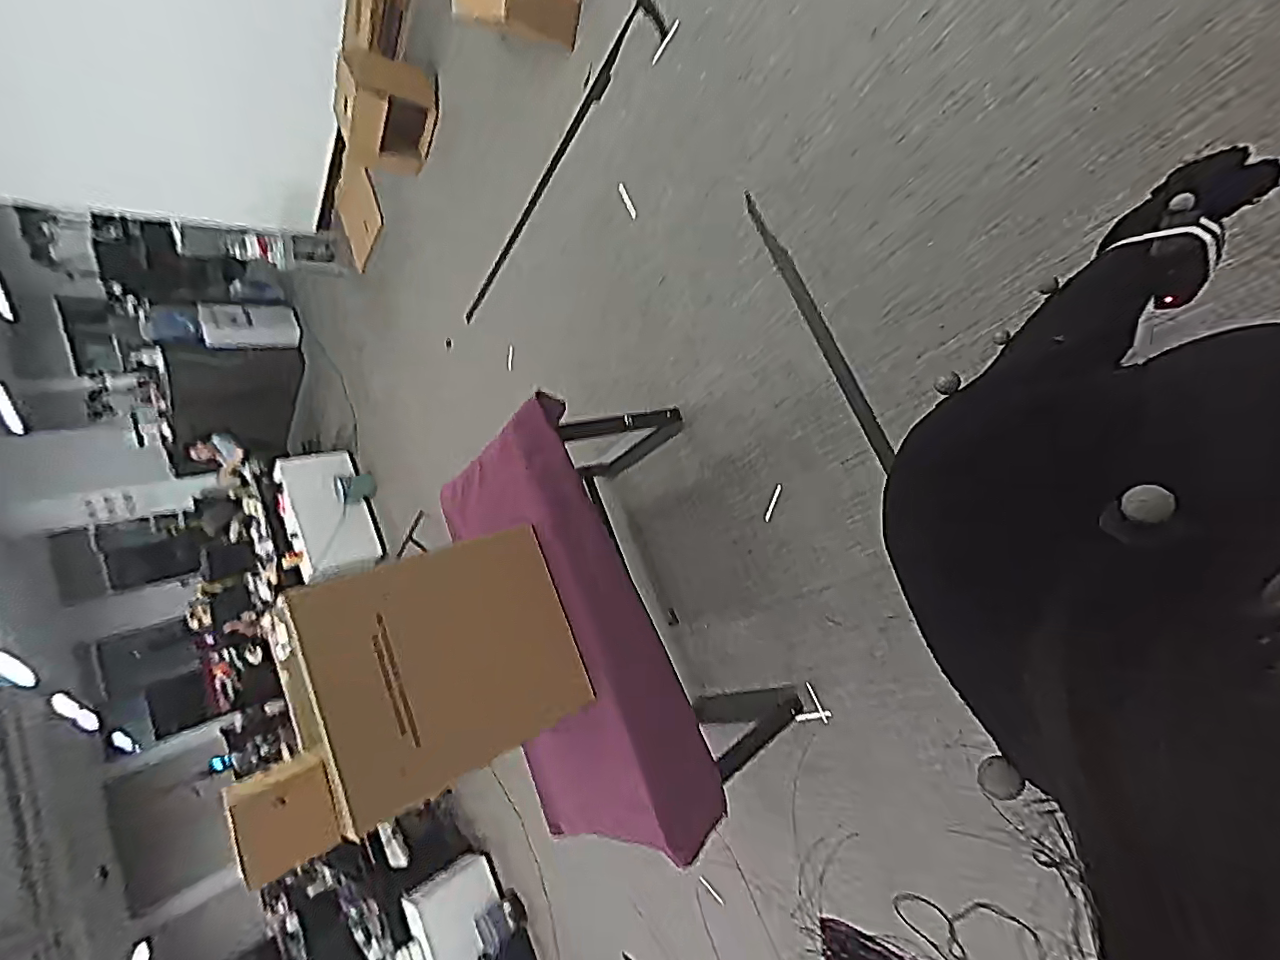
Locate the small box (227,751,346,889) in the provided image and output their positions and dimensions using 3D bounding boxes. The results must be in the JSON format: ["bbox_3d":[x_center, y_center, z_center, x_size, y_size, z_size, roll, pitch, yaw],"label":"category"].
[{"bbox_3d":[-0.753,0.705,1.150,0.168,0.176,0.179,-22,84,48],"label":"small box"}]
